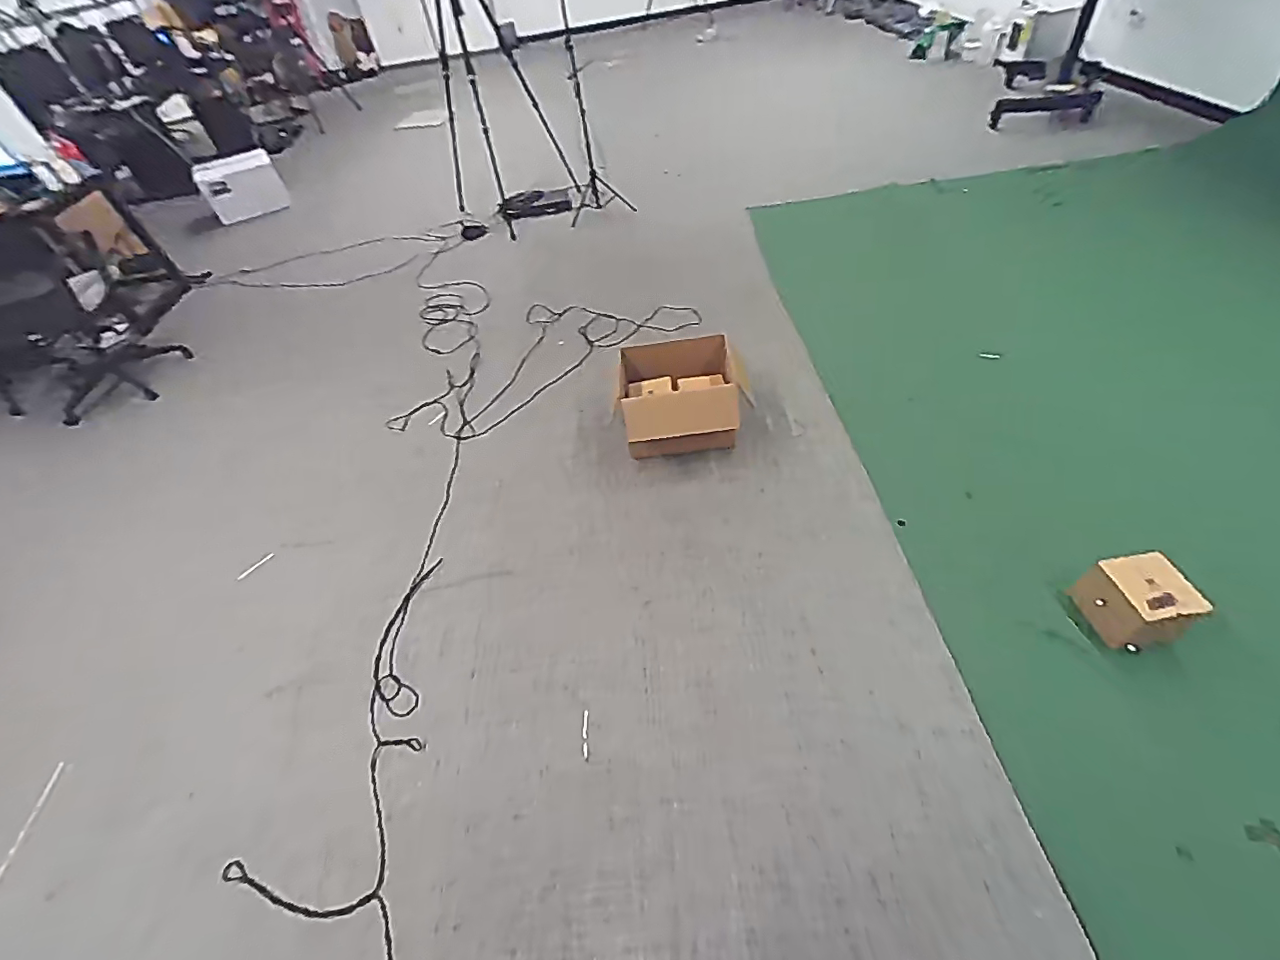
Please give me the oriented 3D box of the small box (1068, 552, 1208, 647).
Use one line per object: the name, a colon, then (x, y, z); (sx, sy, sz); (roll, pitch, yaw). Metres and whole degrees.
small box: (1.272, 0.316, 1.398); (0.168, 0.176, 0.179); (-9, 46, 1)
